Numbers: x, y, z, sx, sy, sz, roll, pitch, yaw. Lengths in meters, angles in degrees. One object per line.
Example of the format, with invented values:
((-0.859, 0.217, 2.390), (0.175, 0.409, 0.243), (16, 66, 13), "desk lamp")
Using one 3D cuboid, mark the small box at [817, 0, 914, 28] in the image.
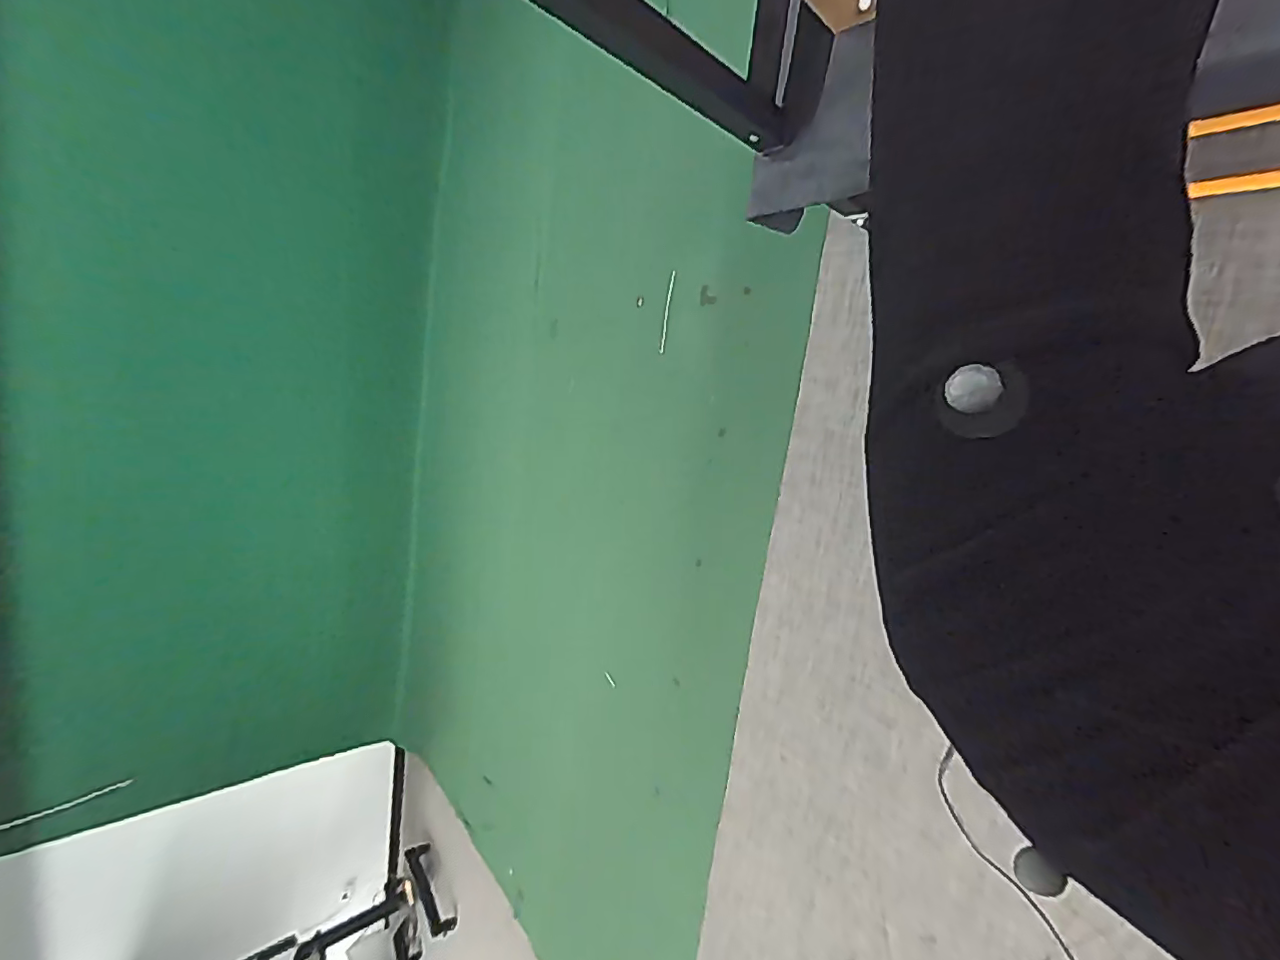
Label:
((0.312, -0.769, 0.721), (0.168, 0.176, 0.179), (18, 105, 47), "small box")
